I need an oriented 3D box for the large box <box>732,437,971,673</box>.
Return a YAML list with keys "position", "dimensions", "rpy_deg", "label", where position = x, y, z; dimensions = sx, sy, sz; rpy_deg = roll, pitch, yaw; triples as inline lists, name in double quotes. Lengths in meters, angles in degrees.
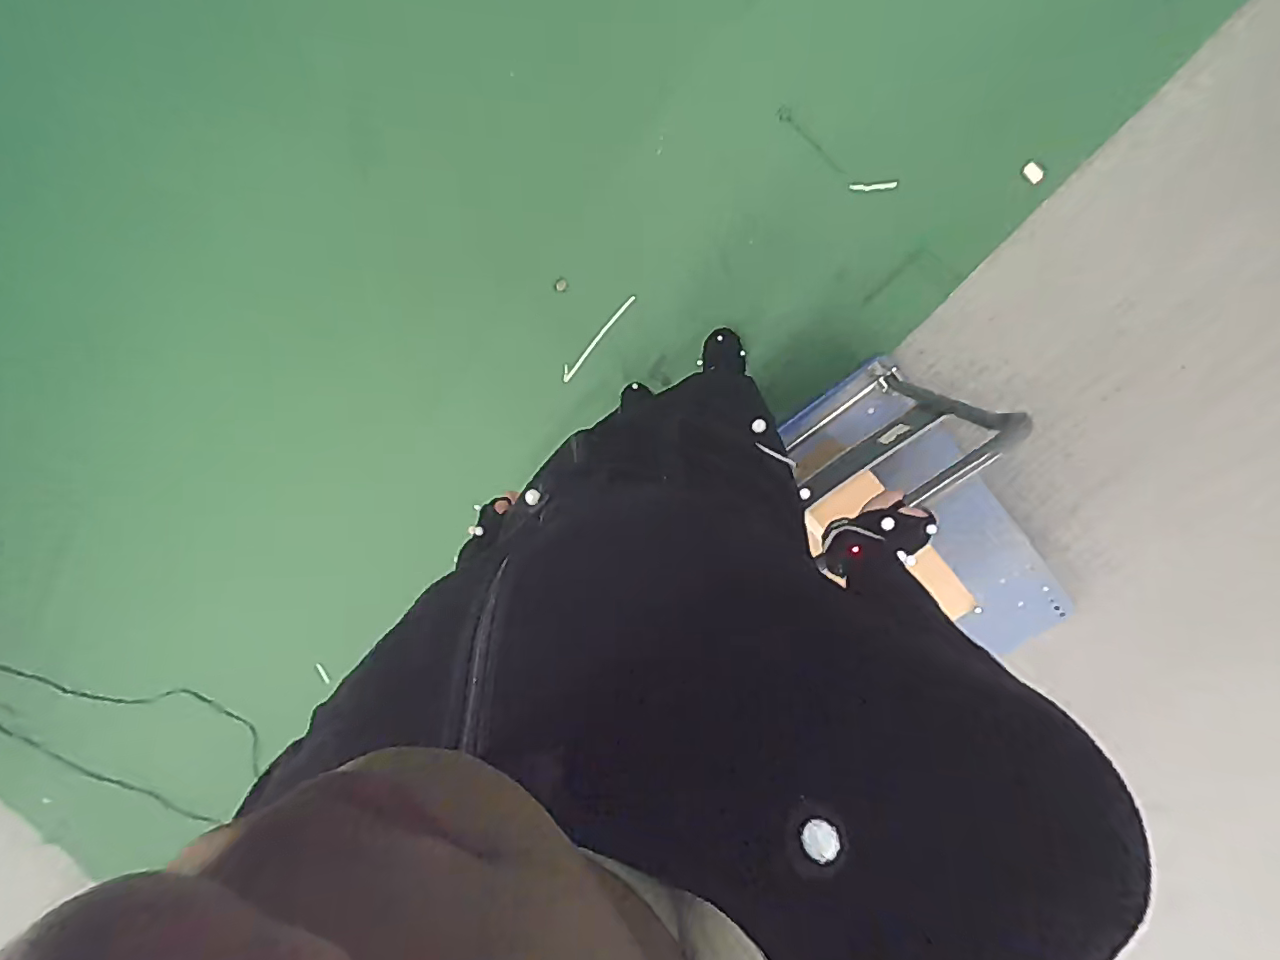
- position: [0.473, 0.160, 1.298]
  dimensions: [0.320, 0.320, 0.408]
  rpy_deg: [-40, 98, 15]
  label: "large box"
